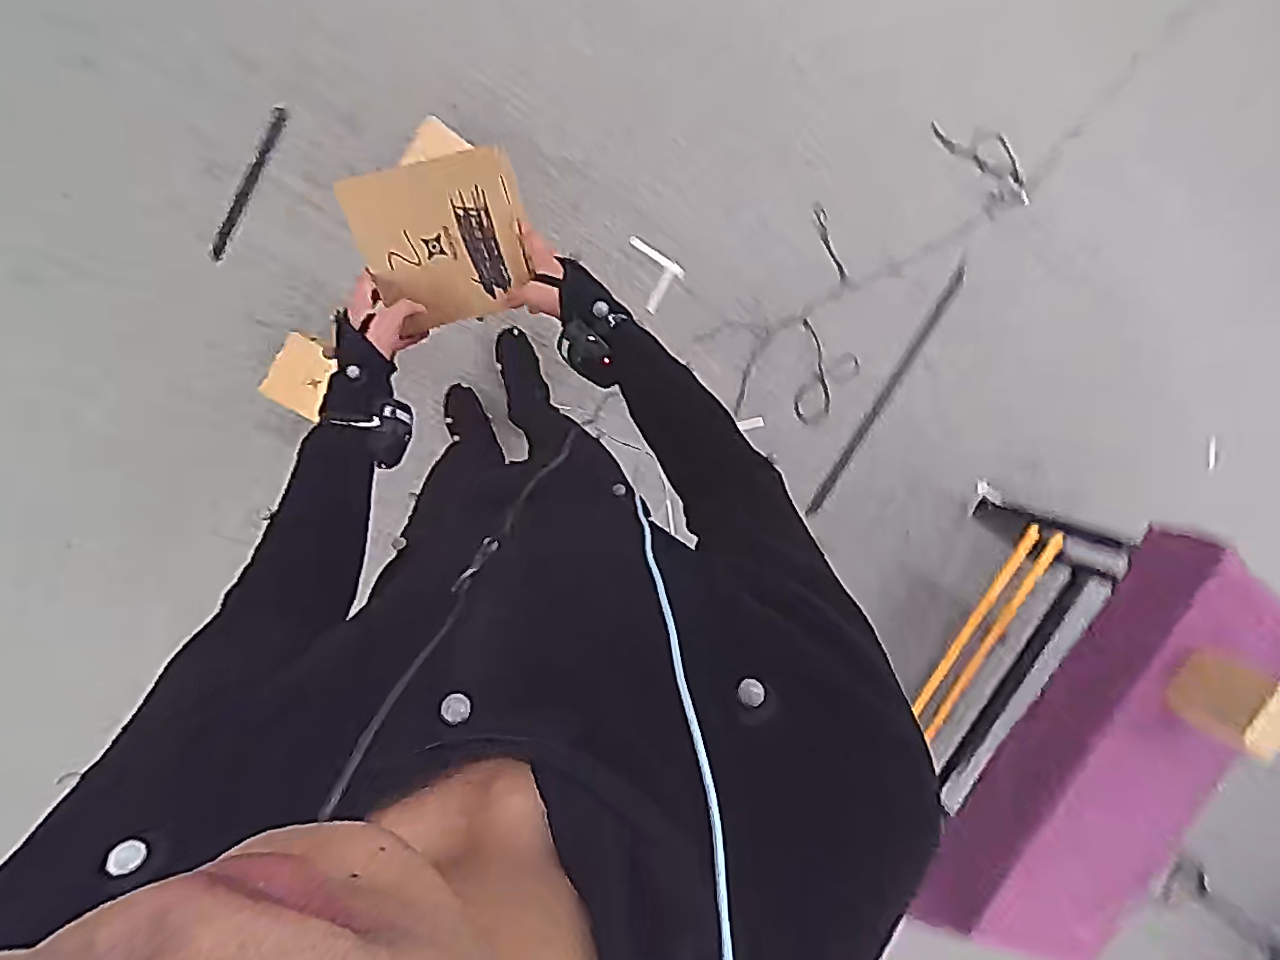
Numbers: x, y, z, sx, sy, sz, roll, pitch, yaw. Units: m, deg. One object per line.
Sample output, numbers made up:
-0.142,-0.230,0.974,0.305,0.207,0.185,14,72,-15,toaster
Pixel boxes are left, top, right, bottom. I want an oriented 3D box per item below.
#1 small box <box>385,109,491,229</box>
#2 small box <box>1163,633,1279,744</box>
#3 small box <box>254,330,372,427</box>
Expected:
-0.478,-0.733,1.304,0.179,0.176,0.168,32,92,-19,small box
1.510,0.532,1.391,0.168,0.176,0.179,31,94,-21,small box
-0.793,-0.254,1.334,0.179,0.176,0.168,30,94,-19,small box
